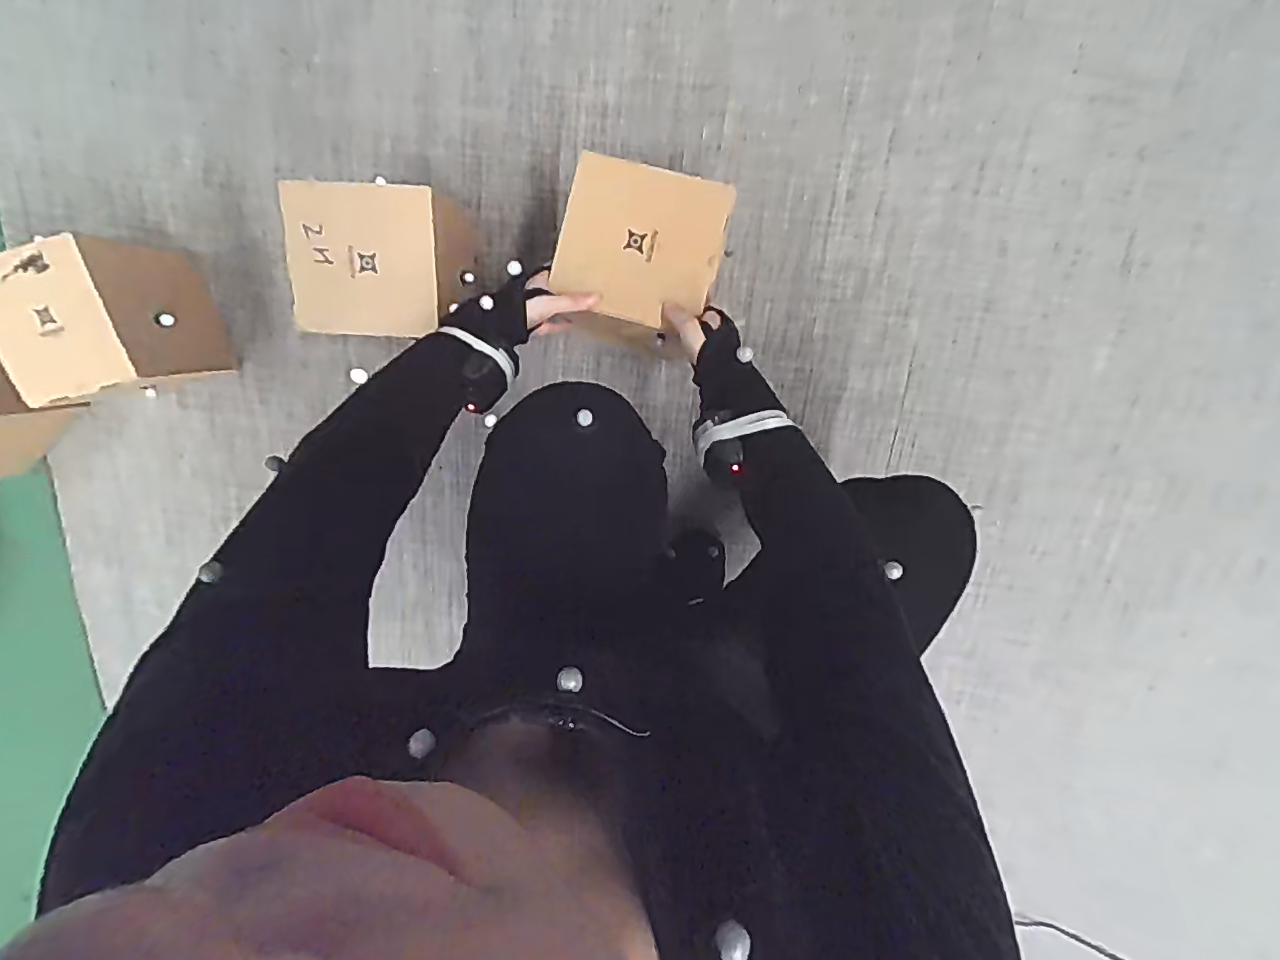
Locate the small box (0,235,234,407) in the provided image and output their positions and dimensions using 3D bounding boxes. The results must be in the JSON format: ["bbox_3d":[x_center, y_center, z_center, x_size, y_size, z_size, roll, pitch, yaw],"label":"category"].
[{"bbox_3d":[-0.709,-0.213,0.734,0.168,0.176,0.179,-12,105,6],"label":"small box"}]

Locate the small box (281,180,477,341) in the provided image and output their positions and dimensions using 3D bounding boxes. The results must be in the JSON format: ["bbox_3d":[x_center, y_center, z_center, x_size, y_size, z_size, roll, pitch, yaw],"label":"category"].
[{"bbox_3d":[-0.317,-0.272,0.700,0.179,0.176,0.168,4,105,1],"label":"small box"}]

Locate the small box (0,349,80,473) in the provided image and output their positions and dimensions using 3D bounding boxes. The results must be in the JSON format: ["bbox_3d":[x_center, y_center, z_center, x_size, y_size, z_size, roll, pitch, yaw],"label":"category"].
[{"bbox_3d":[-0.986,-0.107,0.775,0.179,0.176,0.168,-38,101,11],"label":"small box"}]

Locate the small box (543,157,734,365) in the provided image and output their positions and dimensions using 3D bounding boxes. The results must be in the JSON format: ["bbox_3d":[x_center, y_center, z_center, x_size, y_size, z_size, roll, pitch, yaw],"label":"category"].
[{"bbox_3d":[0.000,-0.254,0.668,0.179,0.176,0.168,15,91,1],"label":"small box"}]
